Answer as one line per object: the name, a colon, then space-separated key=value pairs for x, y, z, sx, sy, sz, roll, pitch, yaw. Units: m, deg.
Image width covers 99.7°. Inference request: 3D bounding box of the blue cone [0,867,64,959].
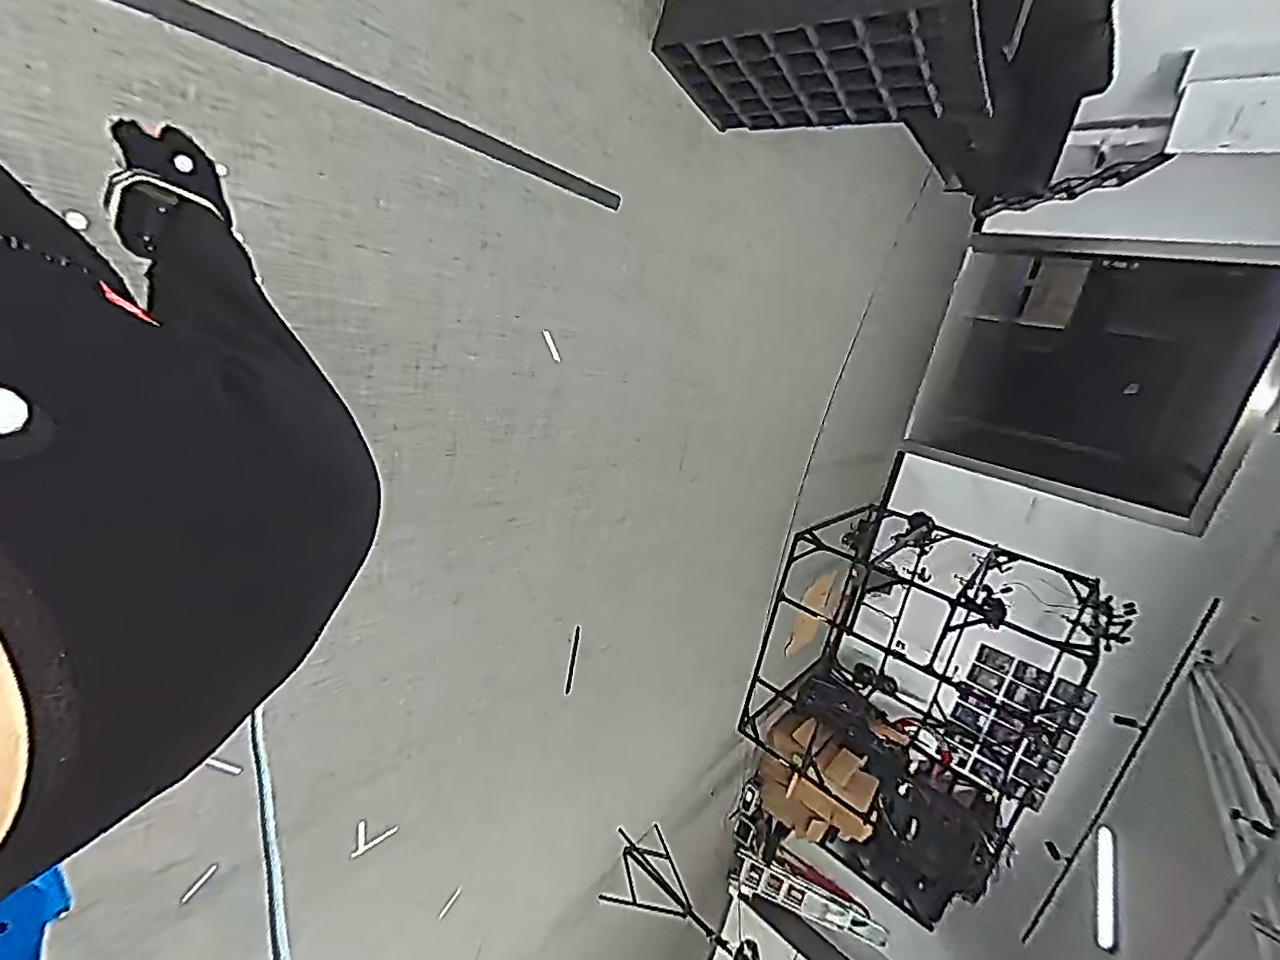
blue cone: x=-1.335 y=1.053 z=1.136 sx=0.192 sy=0.380 sz=0.193 roll=-14 pitch=120 yaw=-50
